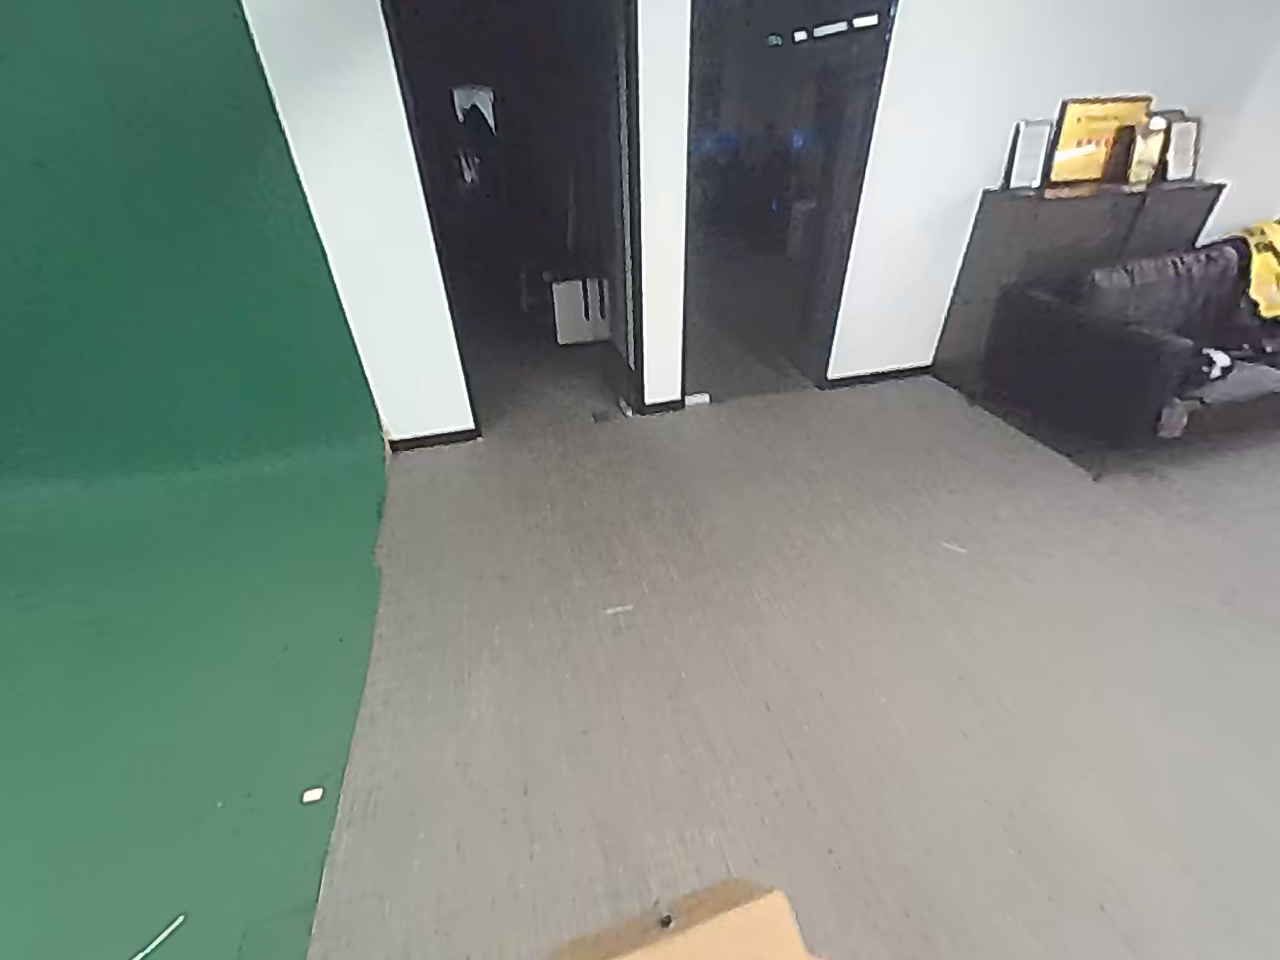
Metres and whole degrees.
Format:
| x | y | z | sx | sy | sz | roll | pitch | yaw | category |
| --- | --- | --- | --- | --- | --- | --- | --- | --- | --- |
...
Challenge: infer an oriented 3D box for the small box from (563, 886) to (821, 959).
| x | y | z | sx | sy | sz | roll | pitch | yaw | category |
| --- | --- | --- | --- | --- | --- | --- | --- | --- | --- |
| 0.036 | 0.396 | 0.358 | 0.179 | 0.176 | 0.168 | -12 | 58 | -11 | small box |
